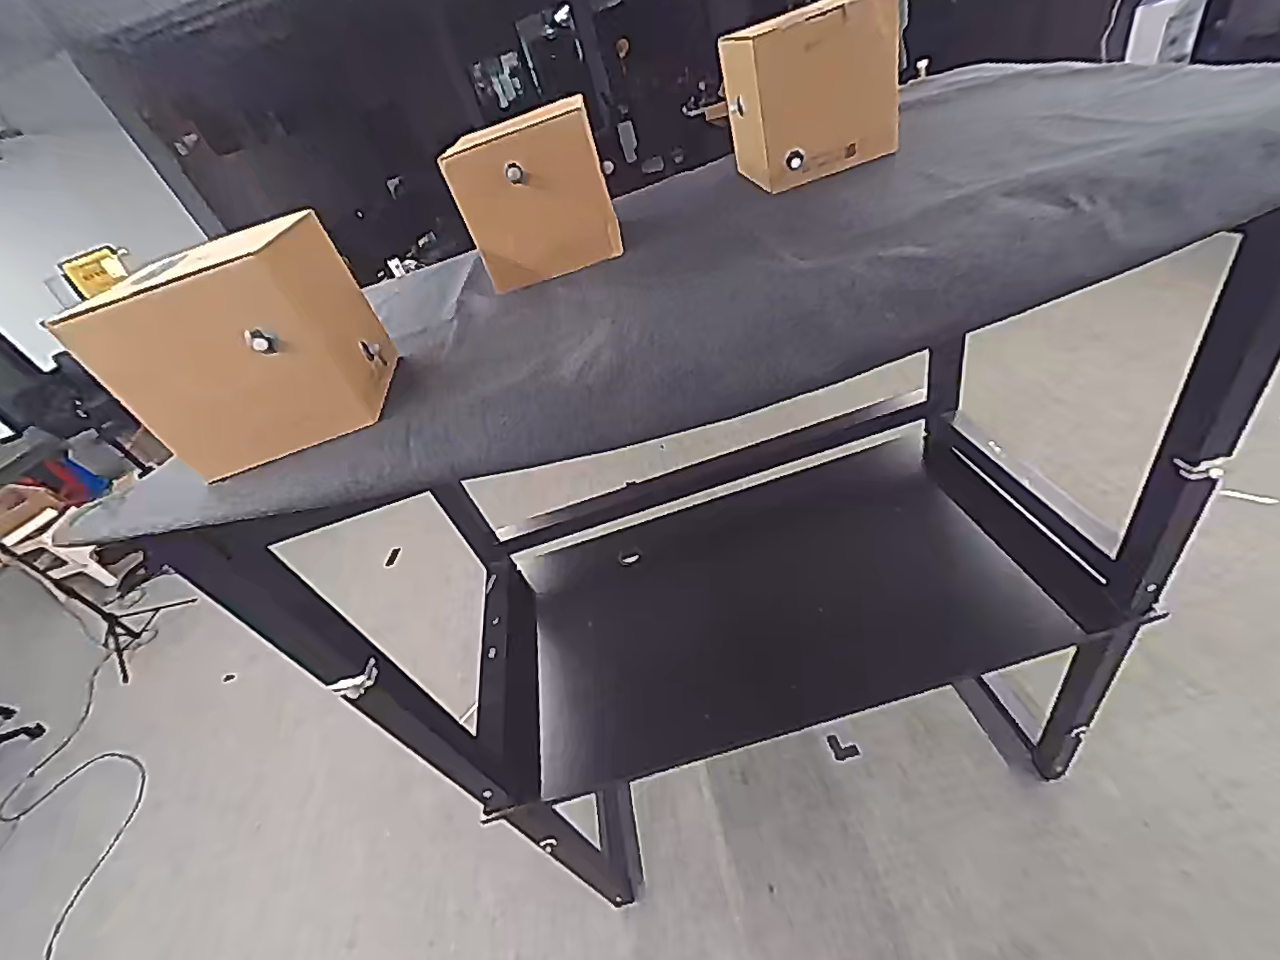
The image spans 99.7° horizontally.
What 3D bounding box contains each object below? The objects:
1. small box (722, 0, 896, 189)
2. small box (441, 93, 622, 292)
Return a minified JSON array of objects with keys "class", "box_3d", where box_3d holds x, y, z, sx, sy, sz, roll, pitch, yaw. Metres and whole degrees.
[{"class":"small box","box_3d":[0.218,-0.501,0.704,0.168,0.176,0.179,-16,38,5]},{"class":"small box","box_3d":[-0.127,-0.375,0.710,0.179,0.176,0.168,-15,39,7]}]
